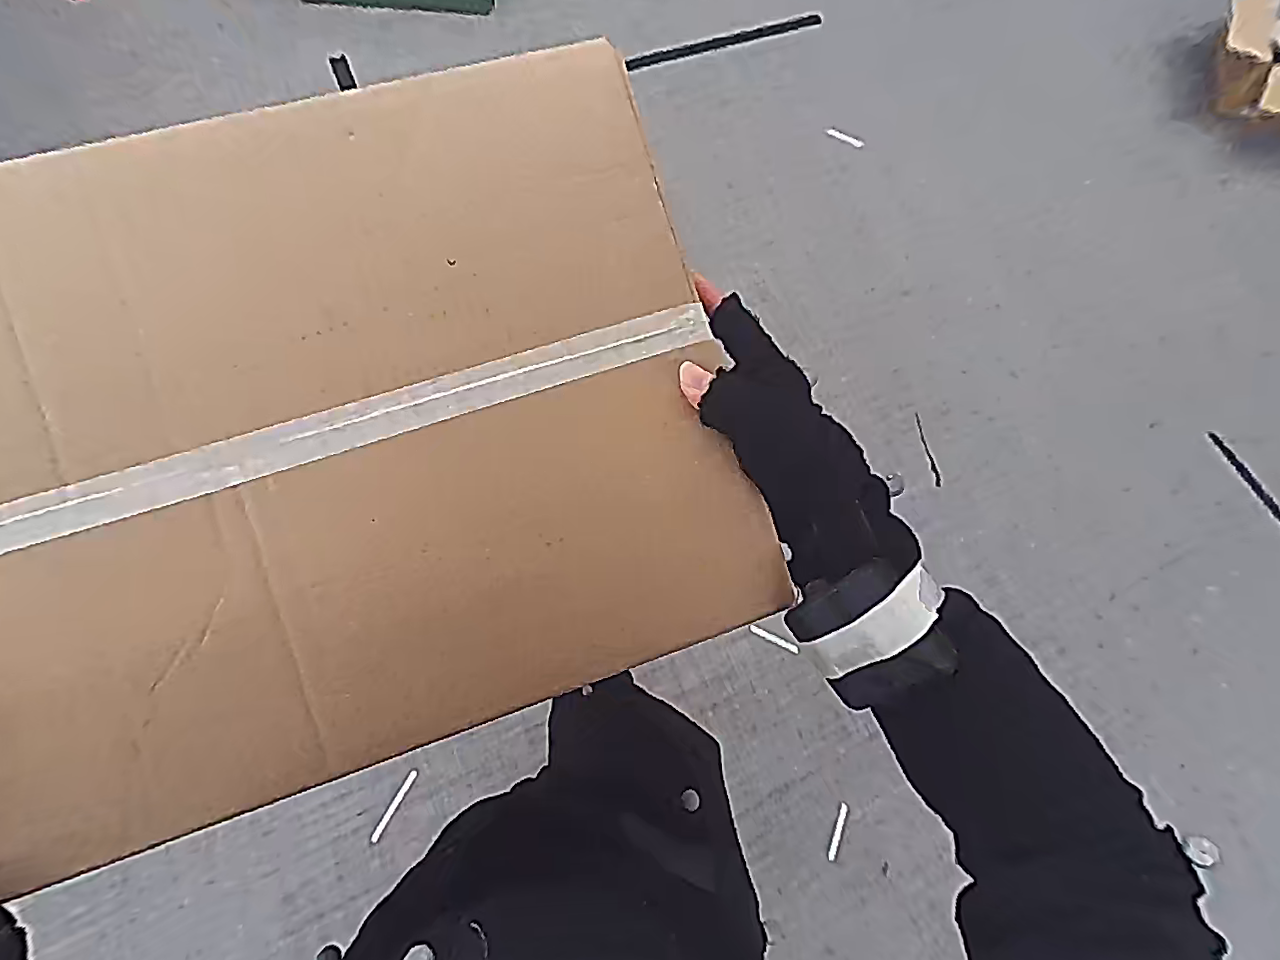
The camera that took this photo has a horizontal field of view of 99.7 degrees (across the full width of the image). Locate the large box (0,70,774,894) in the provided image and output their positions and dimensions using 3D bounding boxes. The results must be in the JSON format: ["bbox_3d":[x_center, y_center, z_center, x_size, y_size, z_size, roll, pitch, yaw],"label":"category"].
[{"bbox_3d":[-0.174,-0.014,0.415,0.408,0.320,0.320,-18,90,-8],"label":"large box"}]
